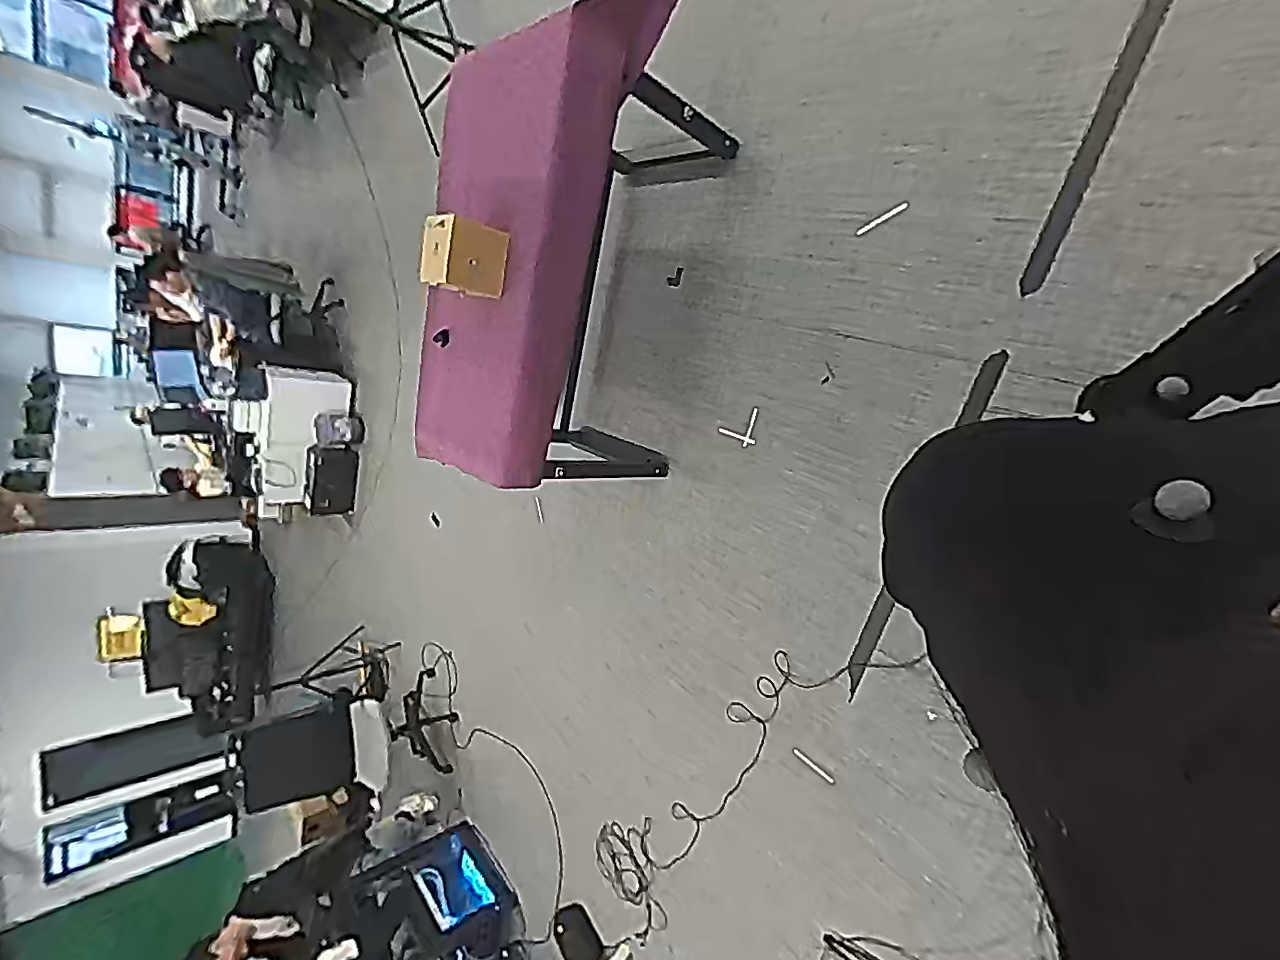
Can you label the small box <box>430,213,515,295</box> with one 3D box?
[{"bbox_3d":[-0.464,-0.621,1.501,0.168,0.176,0.179,23,108,42],"label":"small box"}]
